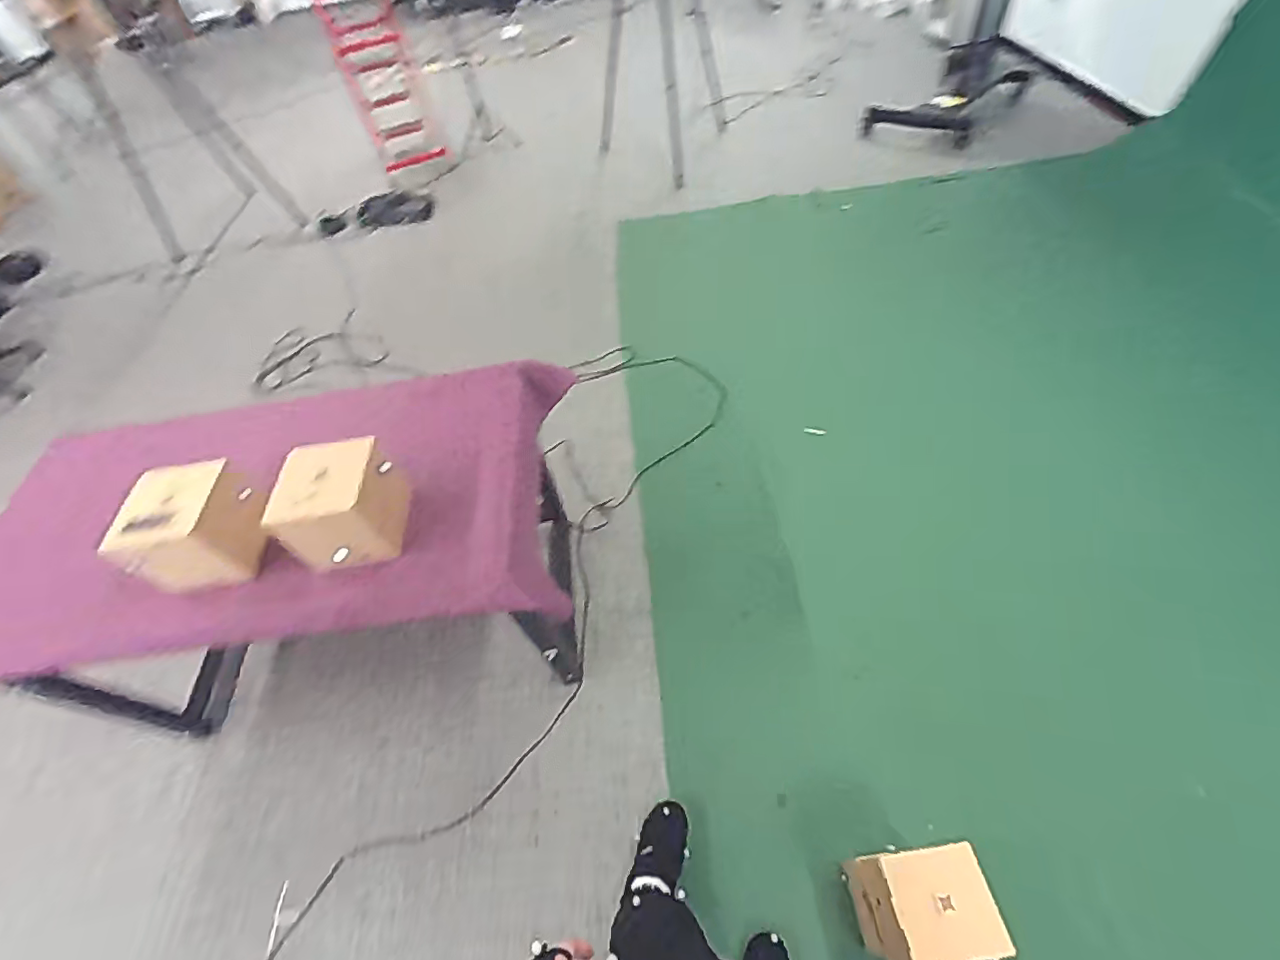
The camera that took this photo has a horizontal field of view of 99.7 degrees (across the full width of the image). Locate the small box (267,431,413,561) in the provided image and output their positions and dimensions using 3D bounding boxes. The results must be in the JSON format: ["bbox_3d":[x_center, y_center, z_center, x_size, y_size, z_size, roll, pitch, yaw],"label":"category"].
[{"bbox_3d":[-0.559,0.033,1.039,0.168,0.176,0.179,-8,52,3],"label":"small box"}]

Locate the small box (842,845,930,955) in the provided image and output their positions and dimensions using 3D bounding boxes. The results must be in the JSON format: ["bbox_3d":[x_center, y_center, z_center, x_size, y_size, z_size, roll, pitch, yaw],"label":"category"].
[{"bbox_3d":[0.548,0.898,1.159,0.179,0.176,0.168,-8,53,0],"label":"small box"}]

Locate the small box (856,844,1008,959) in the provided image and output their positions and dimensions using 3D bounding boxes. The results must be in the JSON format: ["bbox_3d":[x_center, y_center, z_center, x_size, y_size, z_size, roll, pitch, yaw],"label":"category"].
[{"bbox_3d":[0.539,0.803,1.028,0.179,0.176,0.168,-10,53,1],"label":"small box"}]
